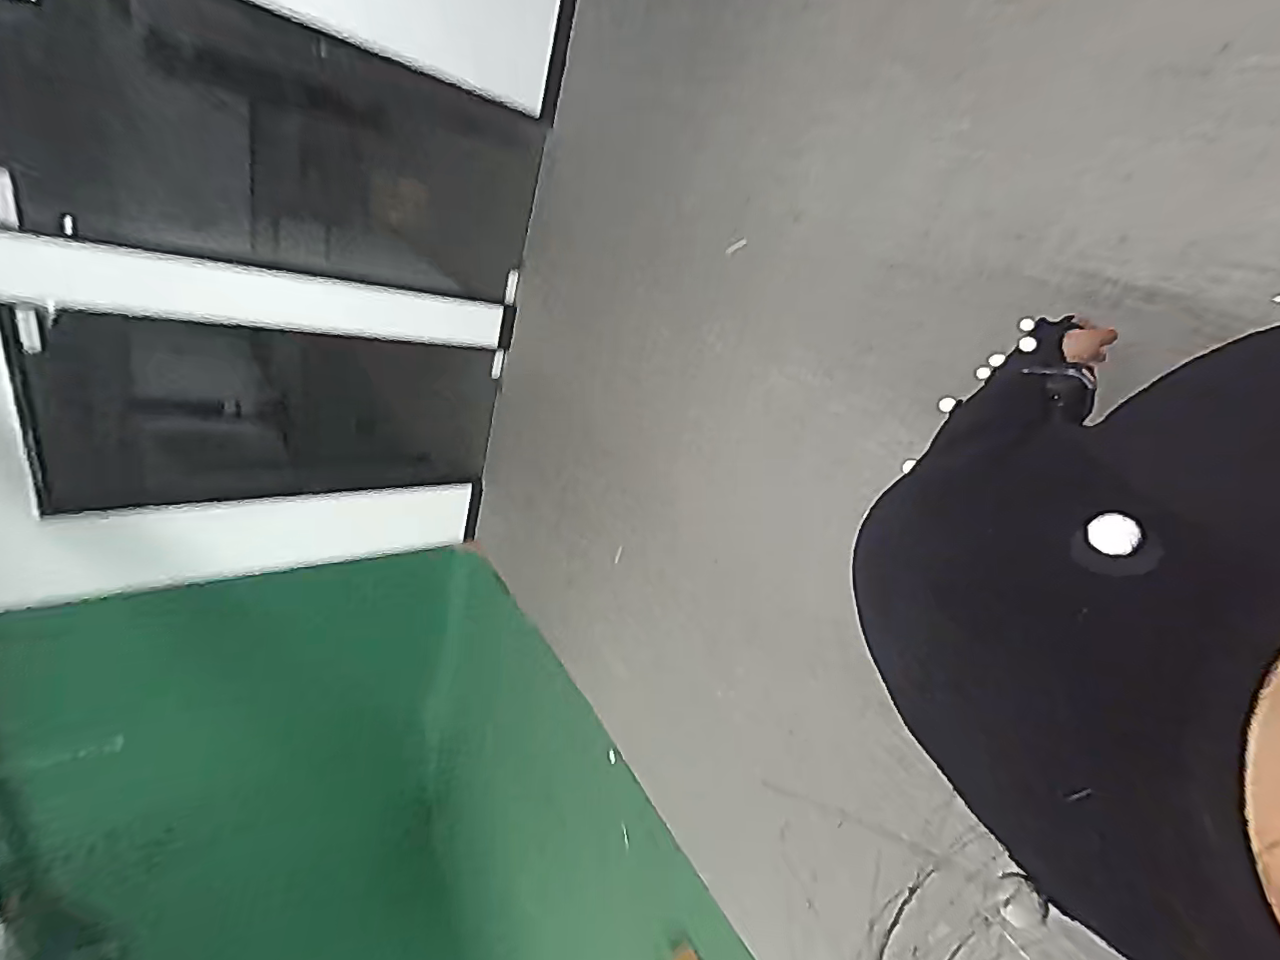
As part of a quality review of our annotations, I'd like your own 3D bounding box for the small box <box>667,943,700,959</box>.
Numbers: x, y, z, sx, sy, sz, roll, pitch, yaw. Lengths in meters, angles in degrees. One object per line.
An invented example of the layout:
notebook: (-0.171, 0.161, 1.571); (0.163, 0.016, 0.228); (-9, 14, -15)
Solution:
small box: (0.173, 2.108, 2.276); (0.168, 0.176, 0.179); (50, 129, 35)
